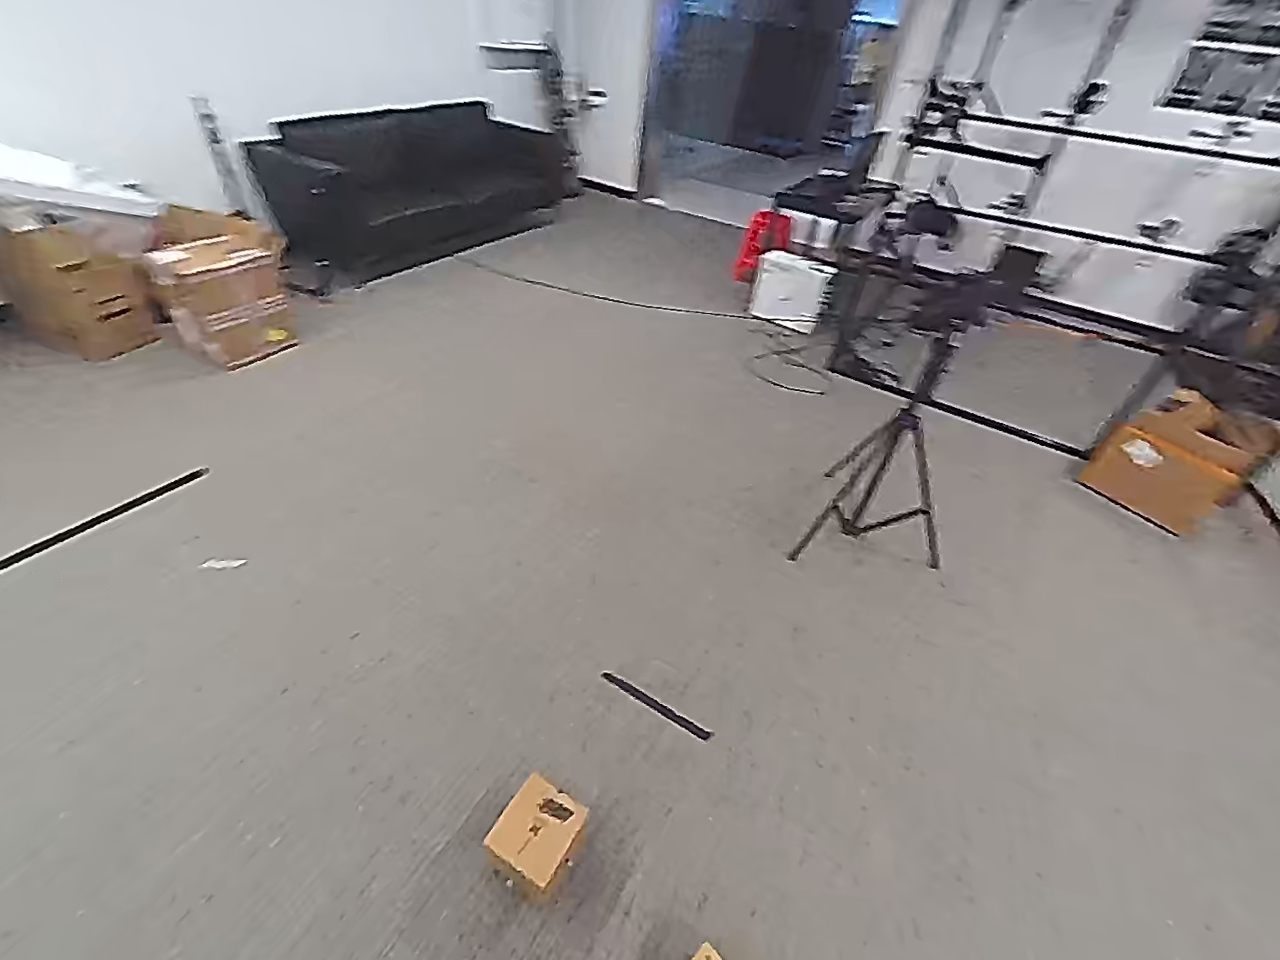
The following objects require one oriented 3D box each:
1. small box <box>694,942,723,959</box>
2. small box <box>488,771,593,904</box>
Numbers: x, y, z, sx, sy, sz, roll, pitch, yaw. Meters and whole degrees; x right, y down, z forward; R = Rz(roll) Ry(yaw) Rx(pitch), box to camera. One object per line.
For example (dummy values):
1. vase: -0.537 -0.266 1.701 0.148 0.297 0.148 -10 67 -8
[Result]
1. small box: 0.124 1.051 1.034 0.179 0.176 0.168 -29 53 -34
2. small box: -0.226 0.824 1.248 0.168 0.176 0.179 24 44 20
